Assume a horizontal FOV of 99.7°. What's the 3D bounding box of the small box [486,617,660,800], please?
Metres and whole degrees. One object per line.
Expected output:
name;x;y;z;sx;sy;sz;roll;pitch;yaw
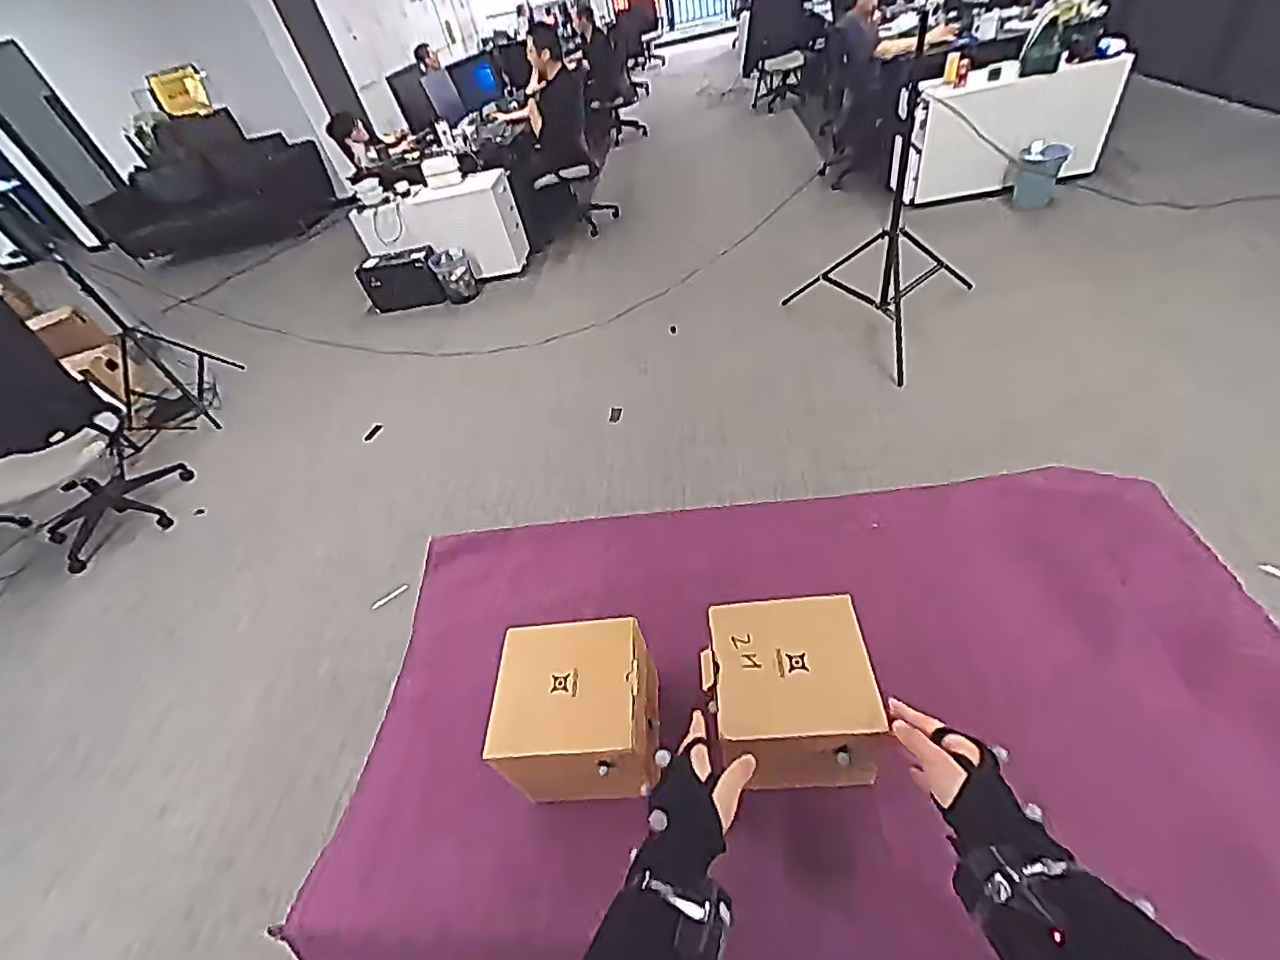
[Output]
small box;-0.074;0.302;0.706;0.179;0.176;0.168;-8;44;7

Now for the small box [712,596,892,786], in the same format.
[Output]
small box;0.187;0.264;0.670;0.179;0.176;0.168;-7;43;8
